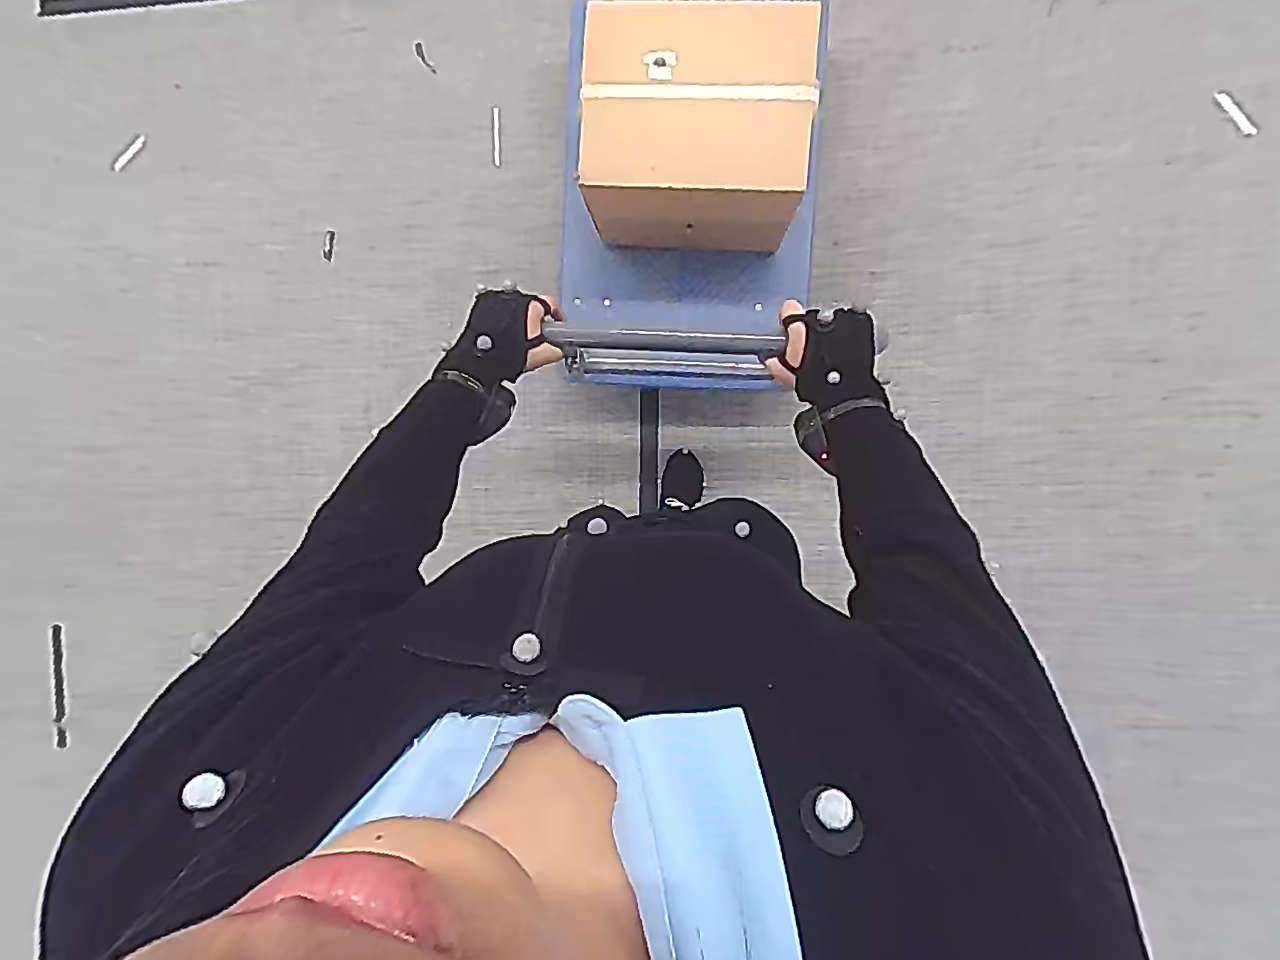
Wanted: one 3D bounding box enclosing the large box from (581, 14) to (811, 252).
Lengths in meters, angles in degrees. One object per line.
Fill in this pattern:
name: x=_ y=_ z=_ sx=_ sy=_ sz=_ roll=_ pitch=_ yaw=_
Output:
large box: x=0.111 y=-0.677 z=1.115 sx=0.408 sy=0.320 sz=0.320 roll=4 pitch=93 yaw=5
